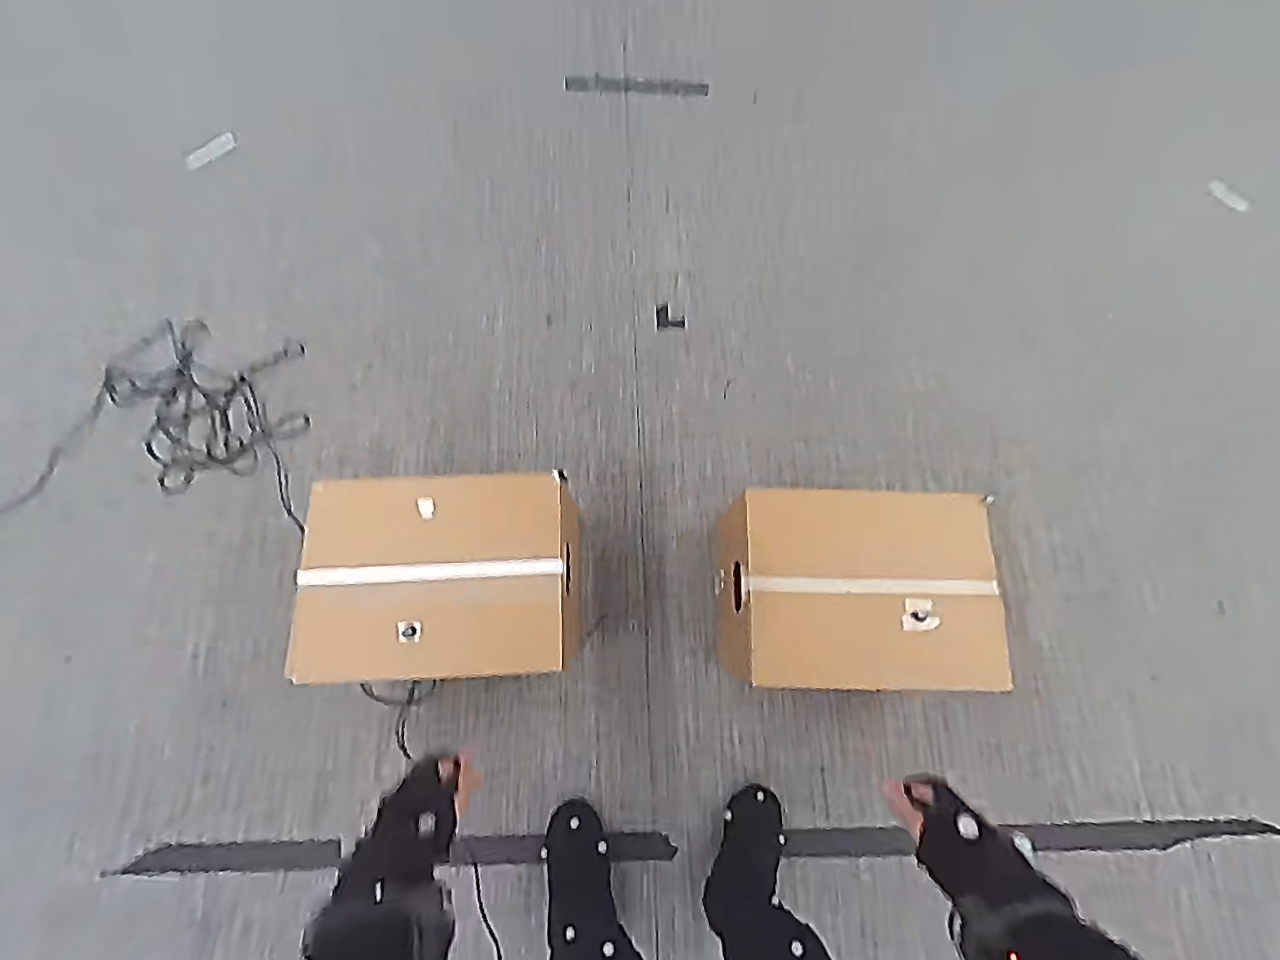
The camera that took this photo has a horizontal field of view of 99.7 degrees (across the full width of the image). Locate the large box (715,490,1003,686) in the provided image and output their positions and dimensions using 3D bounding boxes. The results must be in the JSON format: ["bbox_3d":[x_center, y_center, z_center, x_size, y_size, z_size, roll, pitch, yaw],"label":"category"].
[{"bbox_3d":[0.367,0.210,1.022,0.408,0.320,0.320,2,75,-2],"label":"large box"}]
